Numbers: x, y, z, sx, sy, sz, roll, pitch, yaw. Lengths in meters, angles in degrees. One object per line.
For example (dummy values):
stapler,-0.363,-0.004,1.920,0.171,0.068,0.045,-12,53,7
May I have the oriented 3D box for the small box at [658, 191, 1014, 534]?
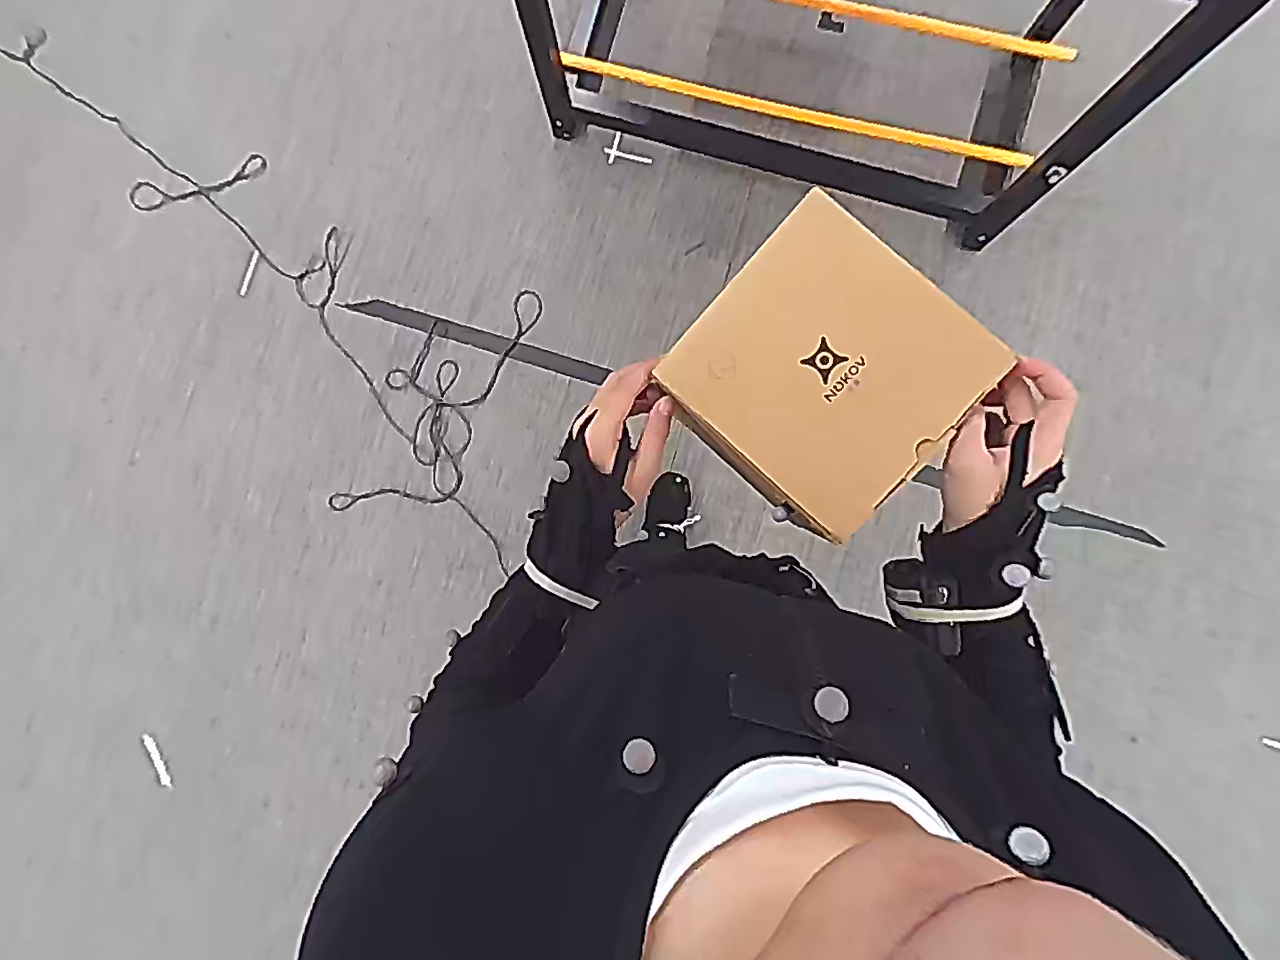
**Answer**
small box,0.133,-0.078,0.439,0.179,0.176,0.168,42,94,3
